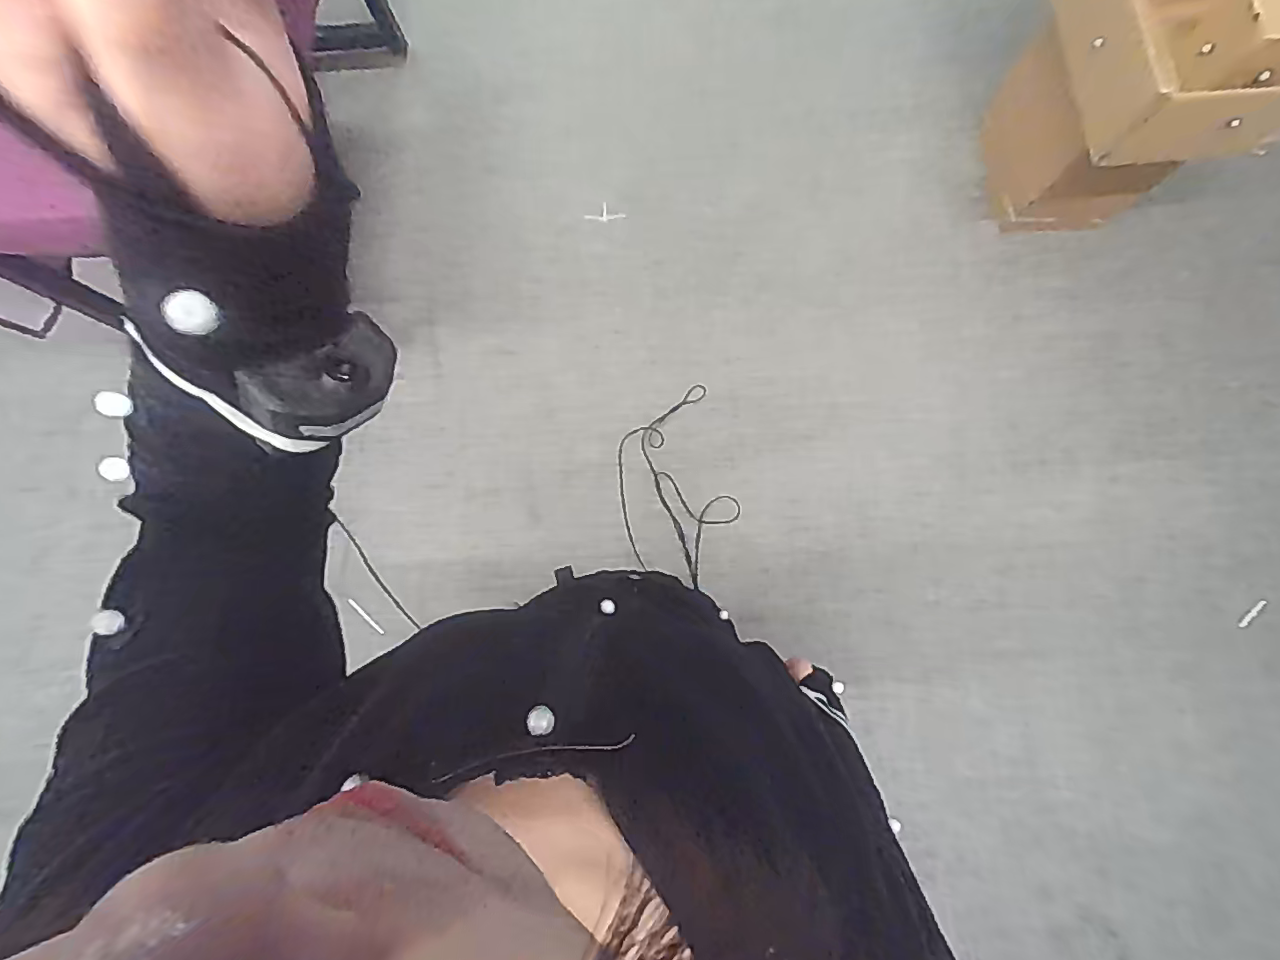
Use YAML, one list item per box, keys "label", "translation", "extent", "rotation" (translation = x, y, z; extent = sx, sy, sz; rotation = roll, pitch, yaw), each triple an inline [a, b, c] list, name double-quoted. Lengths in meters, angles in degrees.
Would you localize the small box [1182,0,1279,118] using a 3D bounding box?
- label: "small box"
  translation: [1.276, -0.882, 1.114]
  extent: [0.179, 0.176, 0.168]
  rotation: [4, 80, 4]
